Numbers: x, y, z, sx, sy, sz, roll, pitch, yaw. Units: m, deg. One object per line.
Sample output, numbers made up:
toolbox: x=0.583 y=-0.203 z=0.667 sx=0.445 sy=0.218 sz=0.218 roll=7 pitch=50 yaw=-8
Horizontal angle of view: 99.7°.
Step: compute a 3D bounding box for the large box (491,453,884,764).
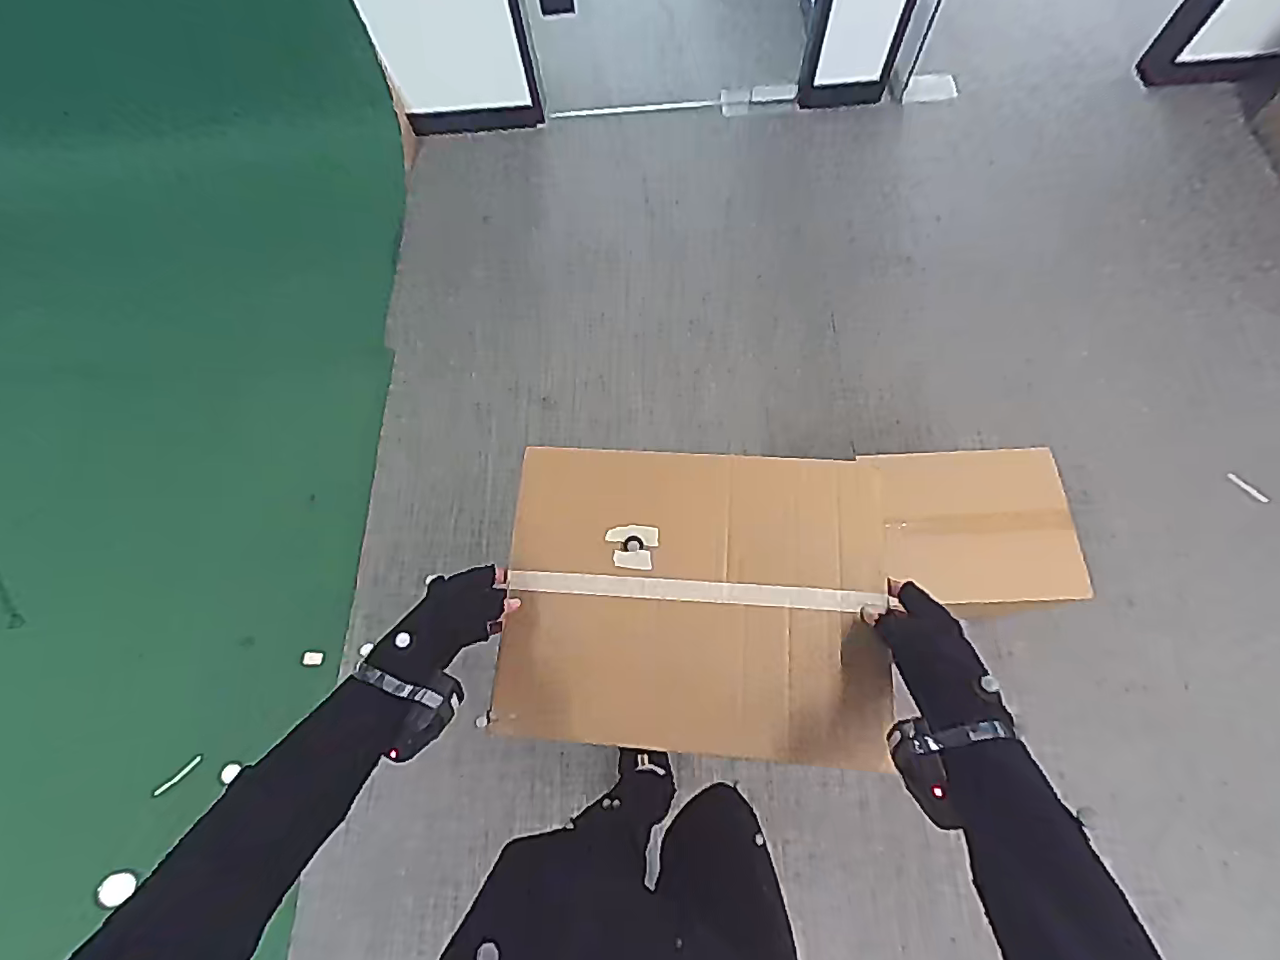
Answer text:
large box: x=0.065 y=0.161 z=0.725 sx=0.408 sy=0.320 sz=0.320 roll=3 pitch=74 yaw=6
